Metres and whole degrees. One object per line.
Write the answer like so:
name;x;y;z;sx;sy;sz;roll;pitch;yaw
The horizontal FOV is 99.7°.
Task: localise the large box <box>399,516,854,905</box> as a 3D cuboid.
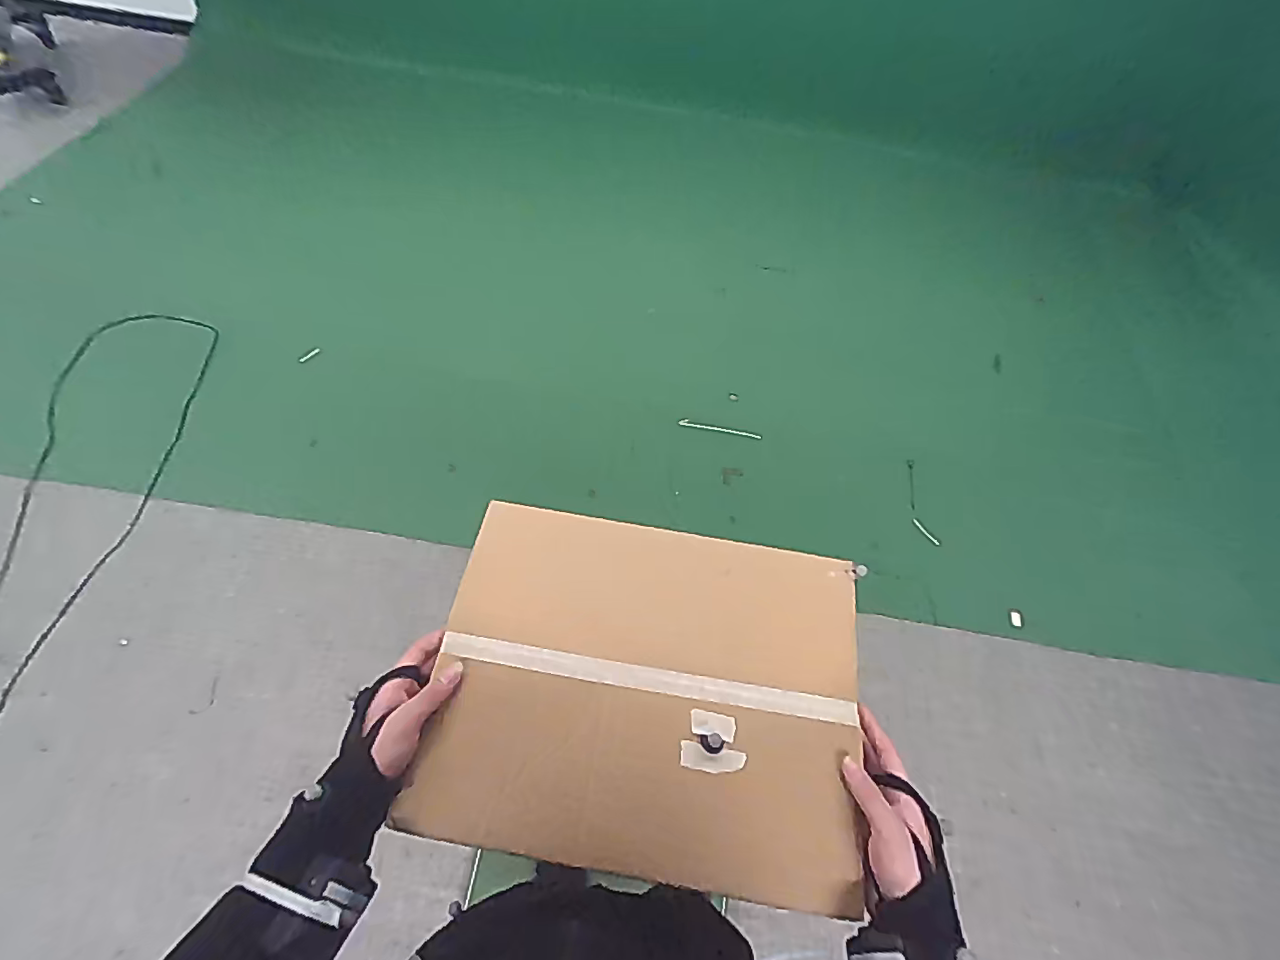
large box;-0.002;0.270;0.662;0.408;0.320;0.320;9;62;2
